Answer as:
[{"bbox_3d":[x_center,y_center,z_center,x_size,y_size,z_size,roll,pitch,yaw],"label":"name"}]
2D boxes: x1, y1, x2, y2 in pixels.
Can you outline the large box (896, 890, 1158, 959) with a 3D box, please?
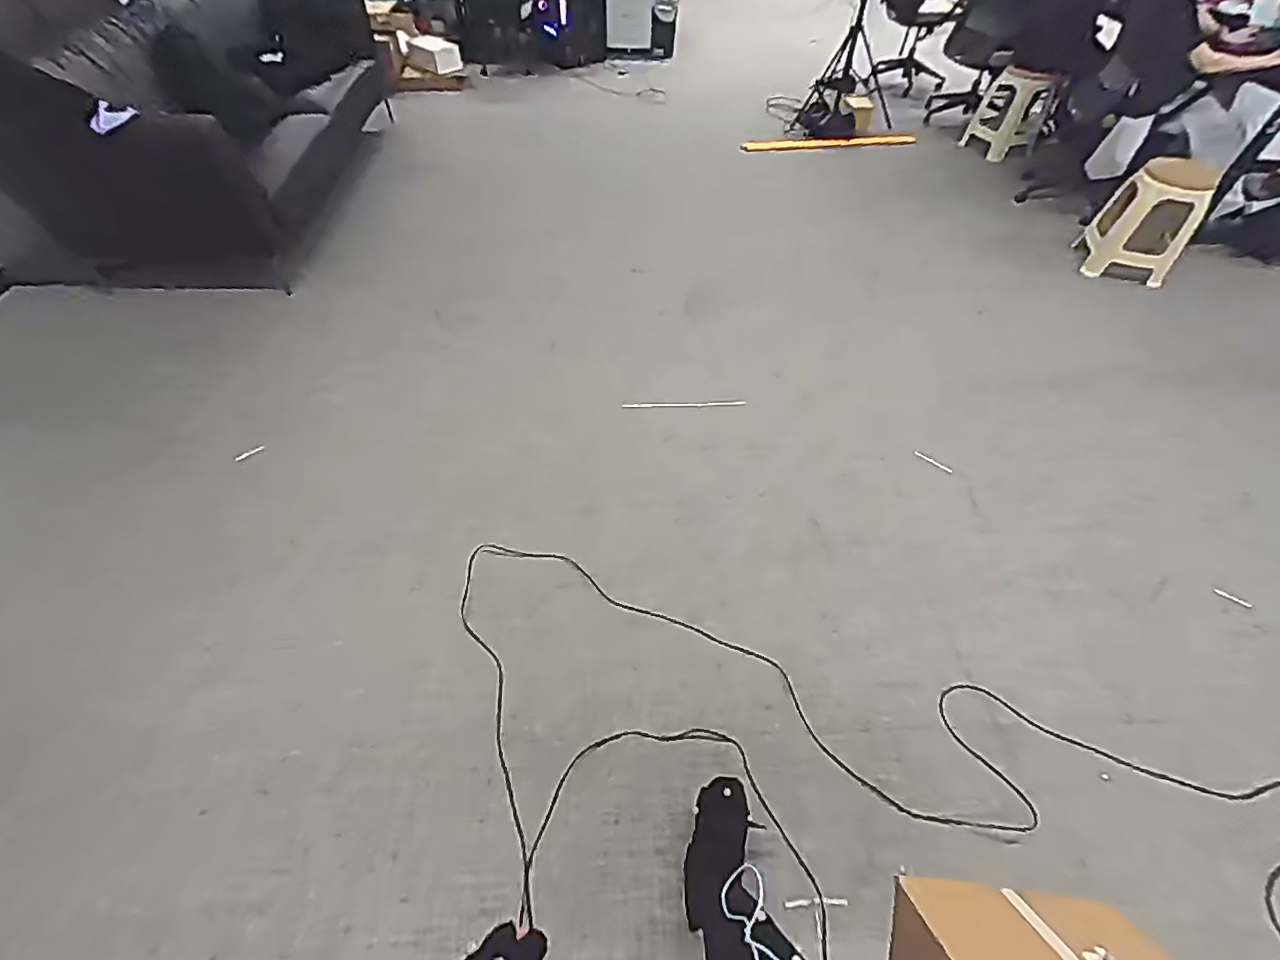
[{"bbox_3d":[0.517,0.759,0.592,0.320,0.408,0.320,7,86,2],"label":"large box"}]
